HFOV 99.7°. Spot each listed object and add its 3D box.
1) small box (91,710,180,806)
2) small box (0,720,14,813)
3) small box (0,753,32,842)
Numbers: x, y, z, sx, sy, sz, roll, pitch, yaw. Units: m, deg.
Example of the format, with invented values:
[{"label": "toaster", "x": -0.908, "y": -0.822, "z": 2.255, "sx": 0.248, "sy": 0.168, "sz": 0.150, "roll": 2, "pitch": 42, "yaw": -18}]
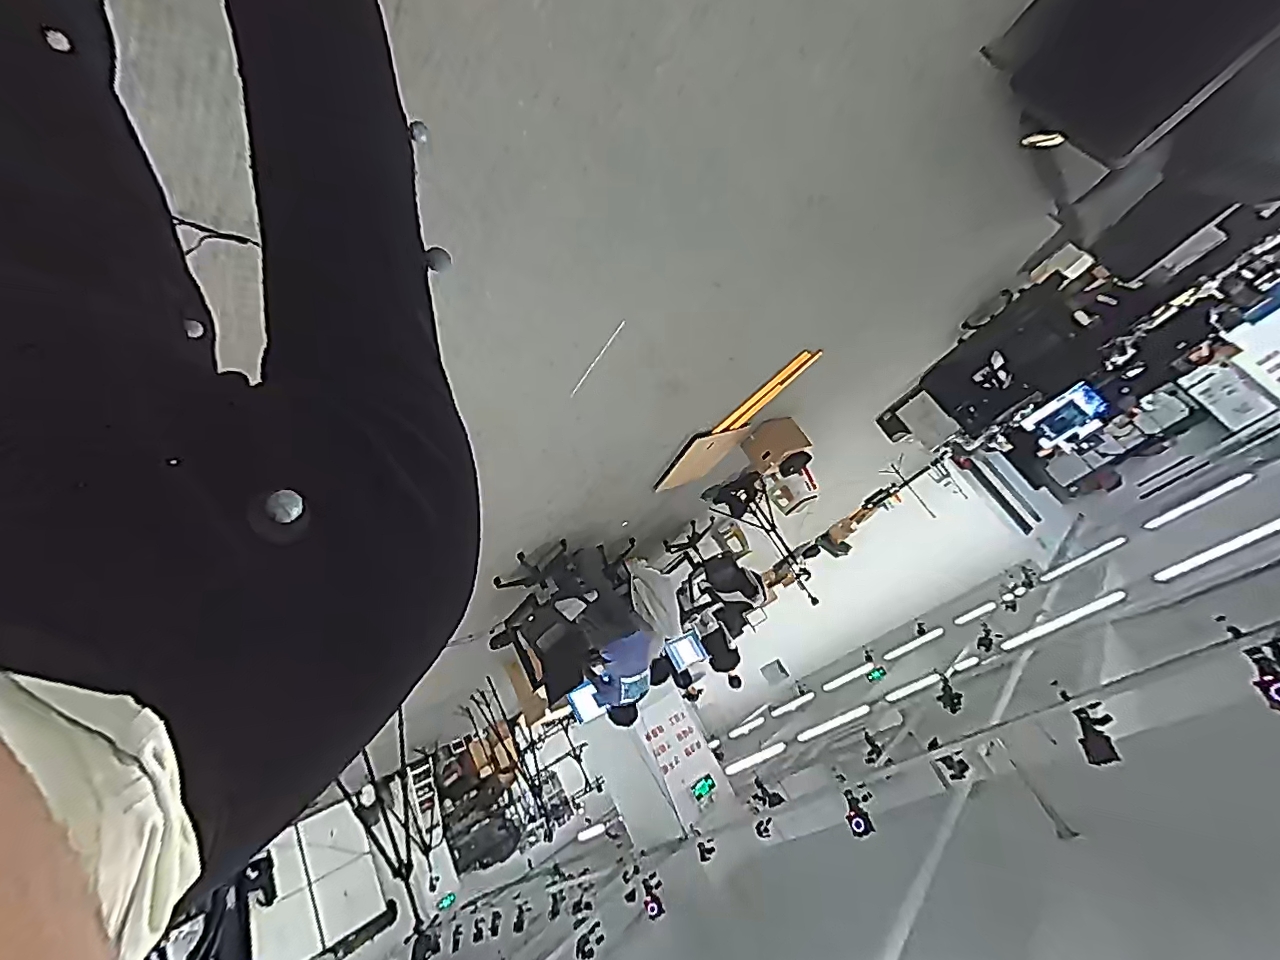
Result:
[{"label": "small box", "x": -1.445, "y": 0.786, "z": 1.546, "sx": 0.168, "sy": 0.176, "sz": 0.179, "roll": -7, "pitch": 149, "yaw": -47}, {"label": "small box", "x": -1.494, "y": 0.650, "z": 1.174, "sx": 0.168, "sy": 0.176, "sz": 0.179, "roll": -7, "pitch": 149, "yaw": -47}, {"label": "small box", "x": -1.635, "y": 0.805, "z": 1.334, "sx": 0.168, "sy": 0.176, "sz": 0.179, "roll": -9, "pitch": 148, "yaw": -47}]
